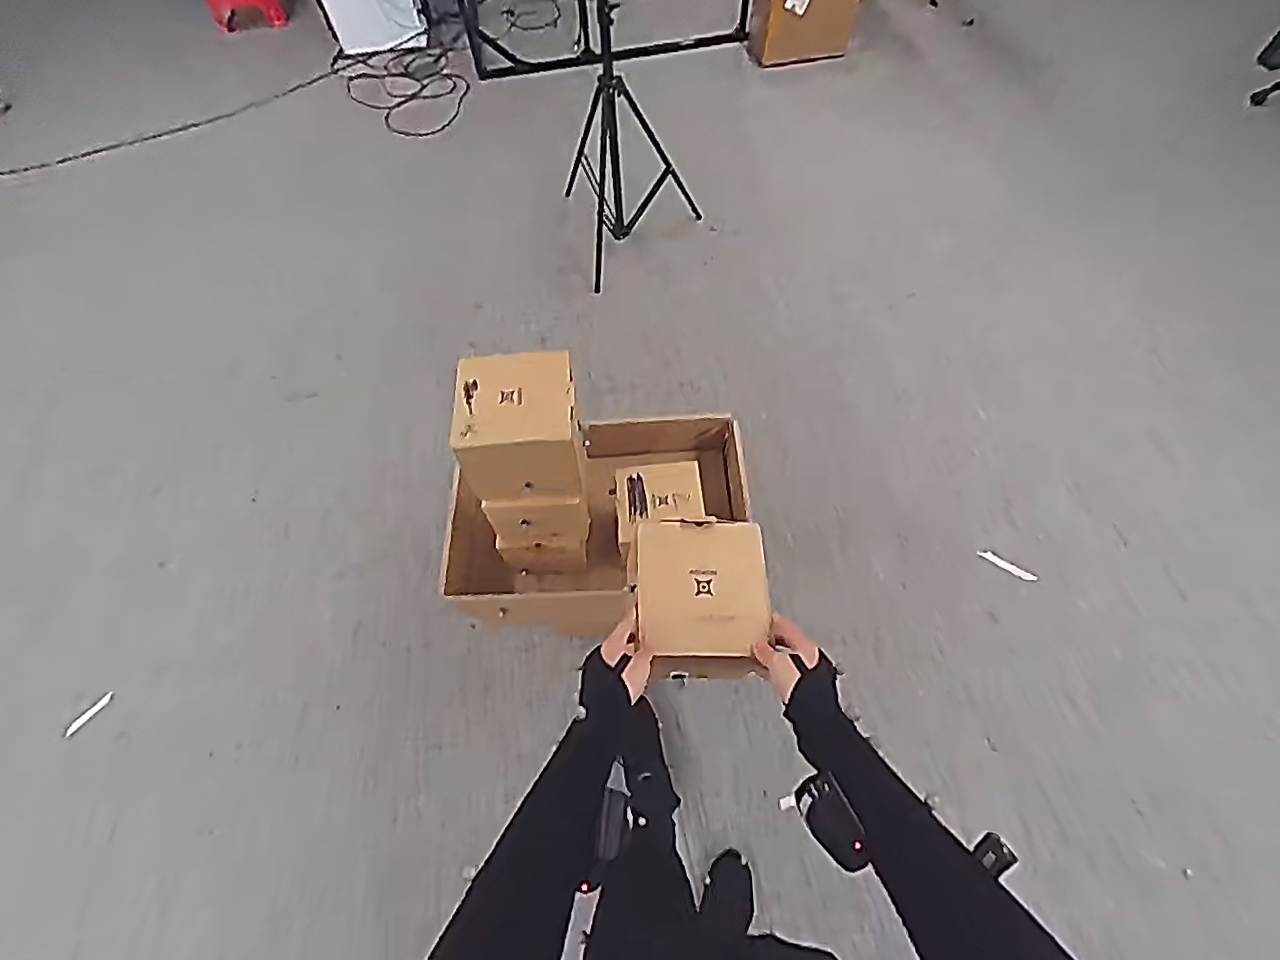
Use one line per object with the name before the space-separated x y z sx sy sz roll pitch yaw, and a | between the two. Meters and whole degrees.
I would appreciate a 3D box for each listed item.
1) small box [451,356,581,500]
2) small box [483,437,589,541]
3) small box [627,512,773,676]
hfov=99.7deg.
small box | -0.186 -0.078 0.870 0.179 0.176 0.168 -4 61 -2
small box | -0.184 0.008 1.010 0.168 0.176 0.179 -3 61 -1
small box | 0.069 0.161 0.743 0.168 0.176 0.179 2 60 -4
